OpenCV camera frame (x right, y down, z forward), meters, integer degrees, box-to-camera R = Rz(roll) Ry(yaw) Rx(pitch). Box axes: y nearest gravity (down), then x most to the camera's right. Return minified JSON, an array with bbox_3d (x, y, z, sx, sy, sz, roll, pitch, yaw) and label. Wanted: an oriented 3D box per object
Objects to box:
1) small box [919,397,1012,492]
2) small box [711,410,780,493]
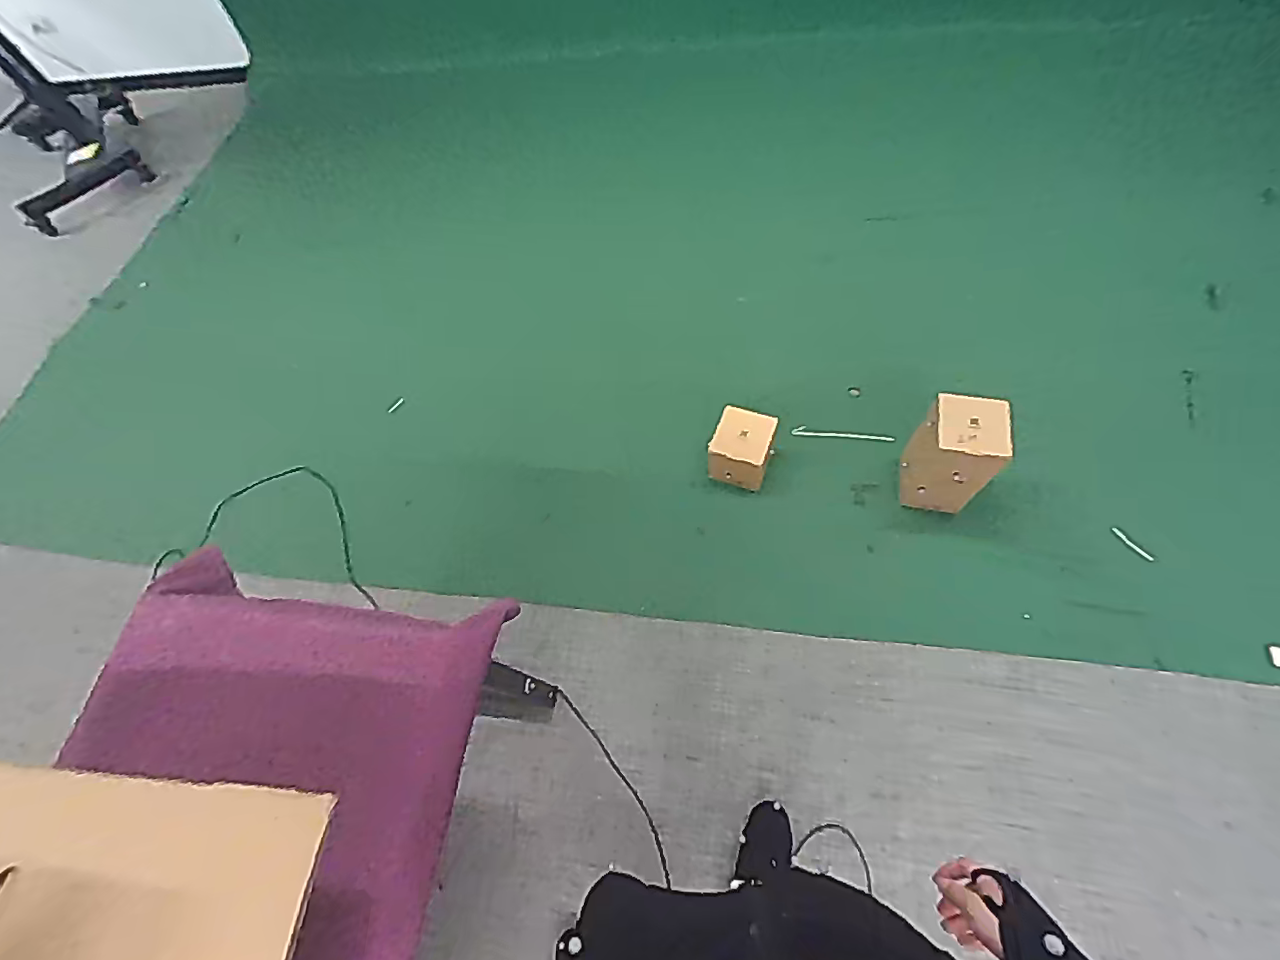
[{"bbox_3d":[0.852,-0.092,1.429,0.168,0.176,0.179,10,64,13],"label":"small box"},{"bbox_3d":[0.325,-0.086,1.689,0.168,0.176,0.179,17,67,16],"label":"small box"}]
